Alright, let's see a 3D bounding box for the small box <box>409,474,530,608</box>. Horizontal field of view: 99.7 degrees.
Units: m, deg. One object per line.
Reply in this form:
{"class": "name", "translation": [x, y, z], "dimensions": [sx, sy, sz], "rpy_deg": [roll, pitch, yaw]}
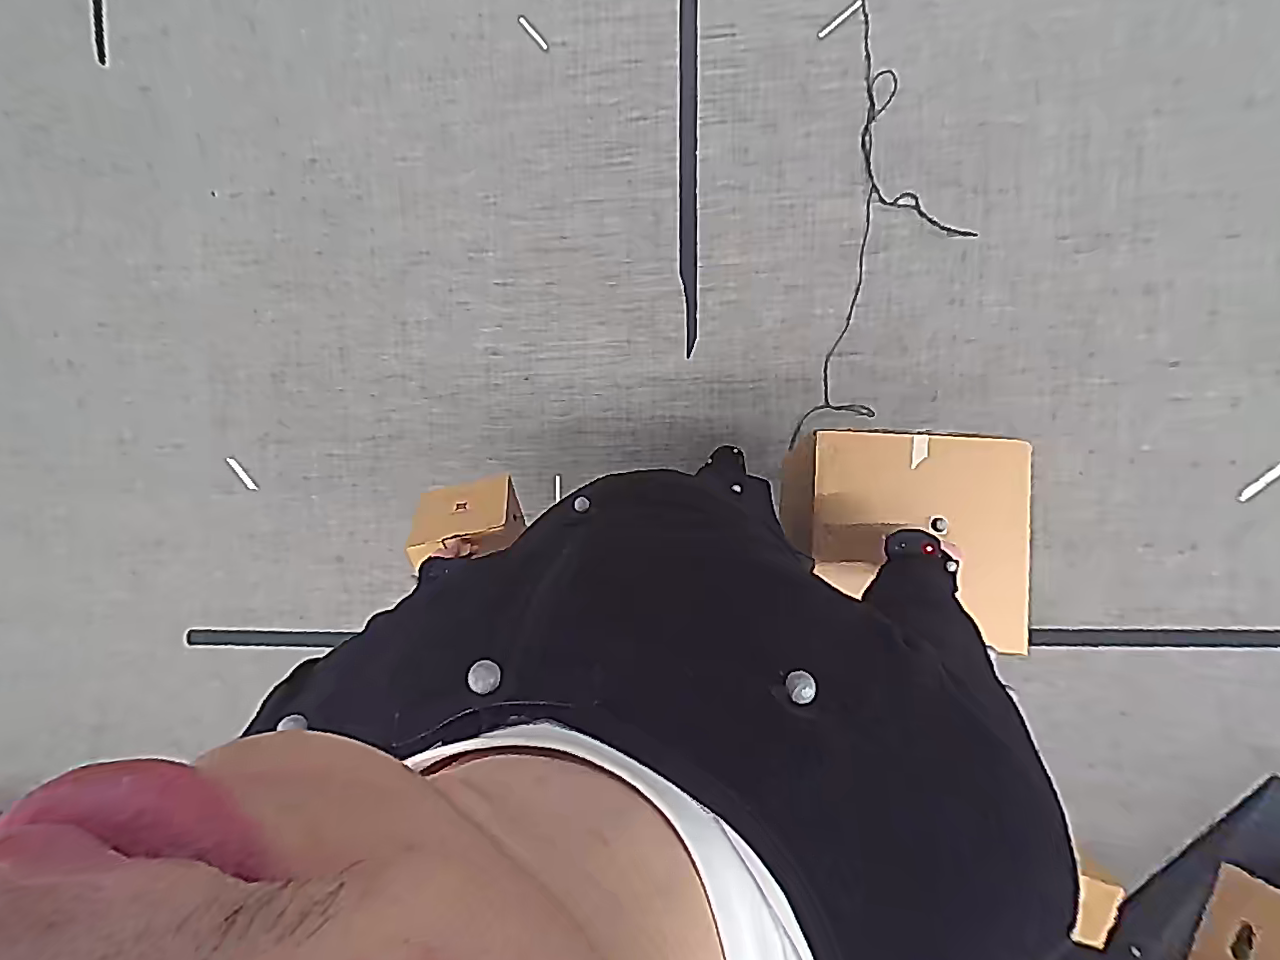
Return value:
{"class": "small box", "translation": [-0.303, 0.116, 1.000], "dimensions": [0.168, 0.179, 0.176], "rpy_deg": [-12, 122, -5]}
